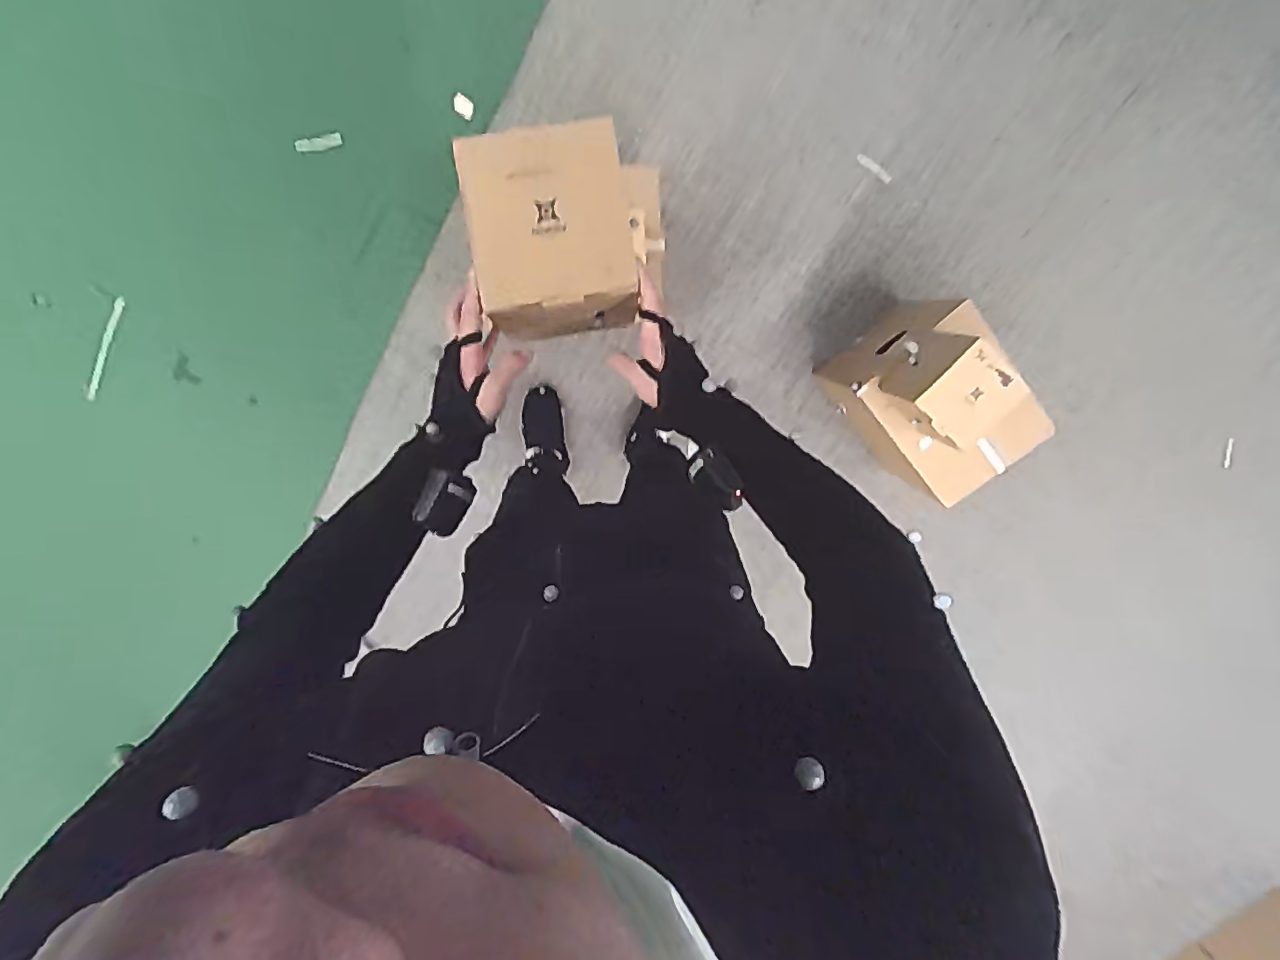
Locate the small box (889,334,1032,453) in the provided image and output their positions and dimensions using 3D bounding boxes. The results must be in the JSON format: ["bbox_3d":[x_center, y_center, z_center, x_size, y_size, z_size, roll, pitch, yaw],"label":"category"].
[{"bbox_3d":[0.668,-0.191,1.157,0.168,0.176,0.179,39,103,-12],"label":"small box"}]

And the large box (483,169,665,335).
[{"bbox_3d":[-0.152,-0.523,1.296,0.408,0.320,0.320,-3,106,1],"label":"large box"}]

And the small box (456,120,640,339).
[{"bbox_3d":[-0.095,-0.269,0.623,0.168,0.176,0.179,-9,93,-3],"label":"small box"}]

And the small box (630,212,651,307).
[{"bbox_3d":[-0.073,-0.426,1.068,0.179,0.176,0.168,-3,107,0],"label":"small box"}]
